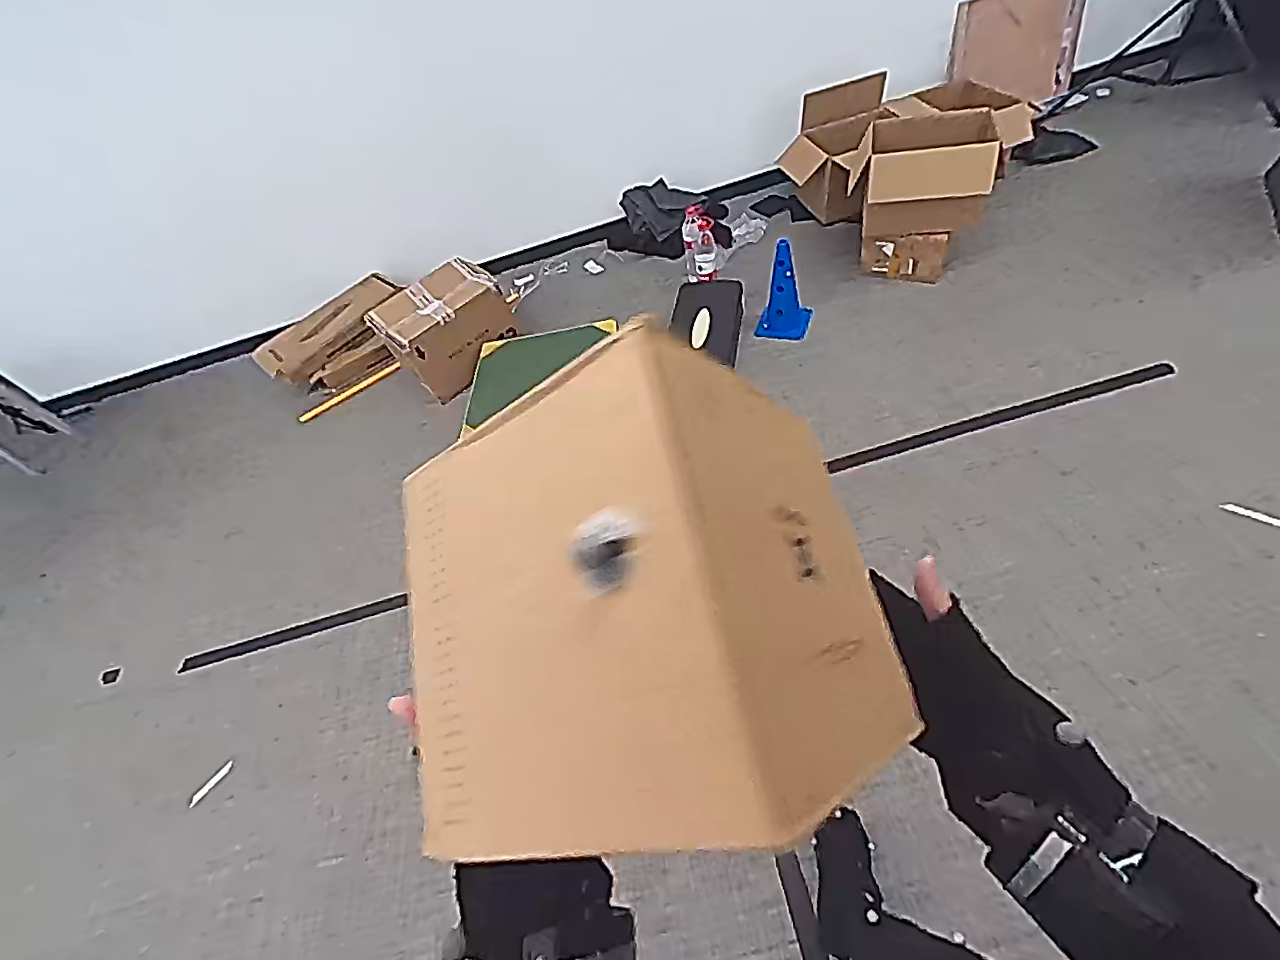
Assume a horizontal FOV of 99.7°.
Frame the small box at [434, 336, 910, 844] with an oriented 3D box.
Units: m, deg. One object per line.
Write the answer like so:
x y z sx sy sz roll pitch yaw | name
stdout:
0.010 0.065 0.286 0.176 0.168 0.179 -26 64 29 | small box
